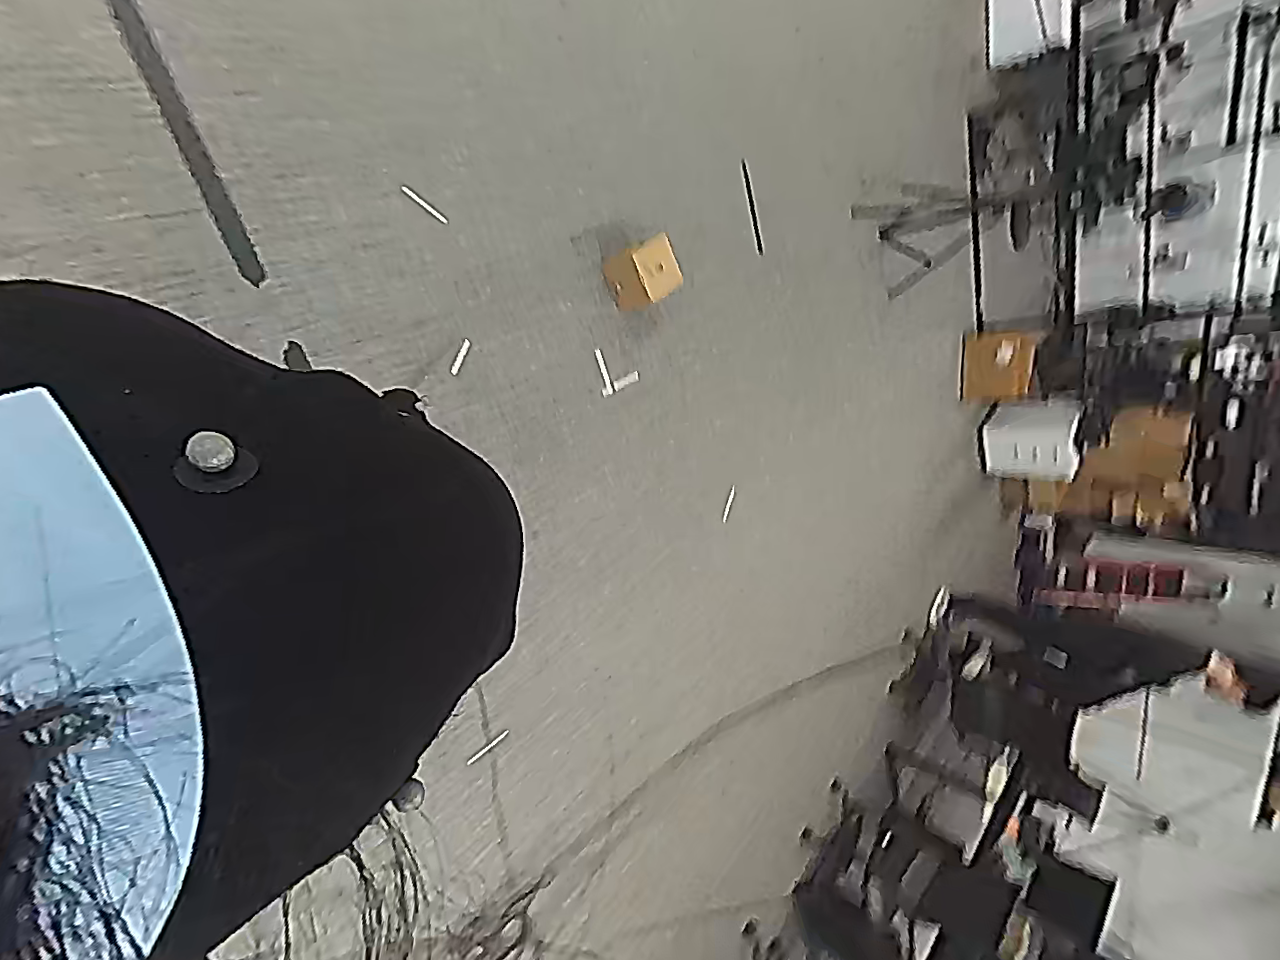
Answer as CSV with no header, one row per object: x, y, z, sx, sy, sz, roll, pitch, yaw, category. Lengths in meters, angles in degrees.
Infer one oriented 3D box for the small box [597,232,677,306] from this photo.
-0.011,-0.708,1.820,0.179,0.176,0.168,-44,122,-28,small box
